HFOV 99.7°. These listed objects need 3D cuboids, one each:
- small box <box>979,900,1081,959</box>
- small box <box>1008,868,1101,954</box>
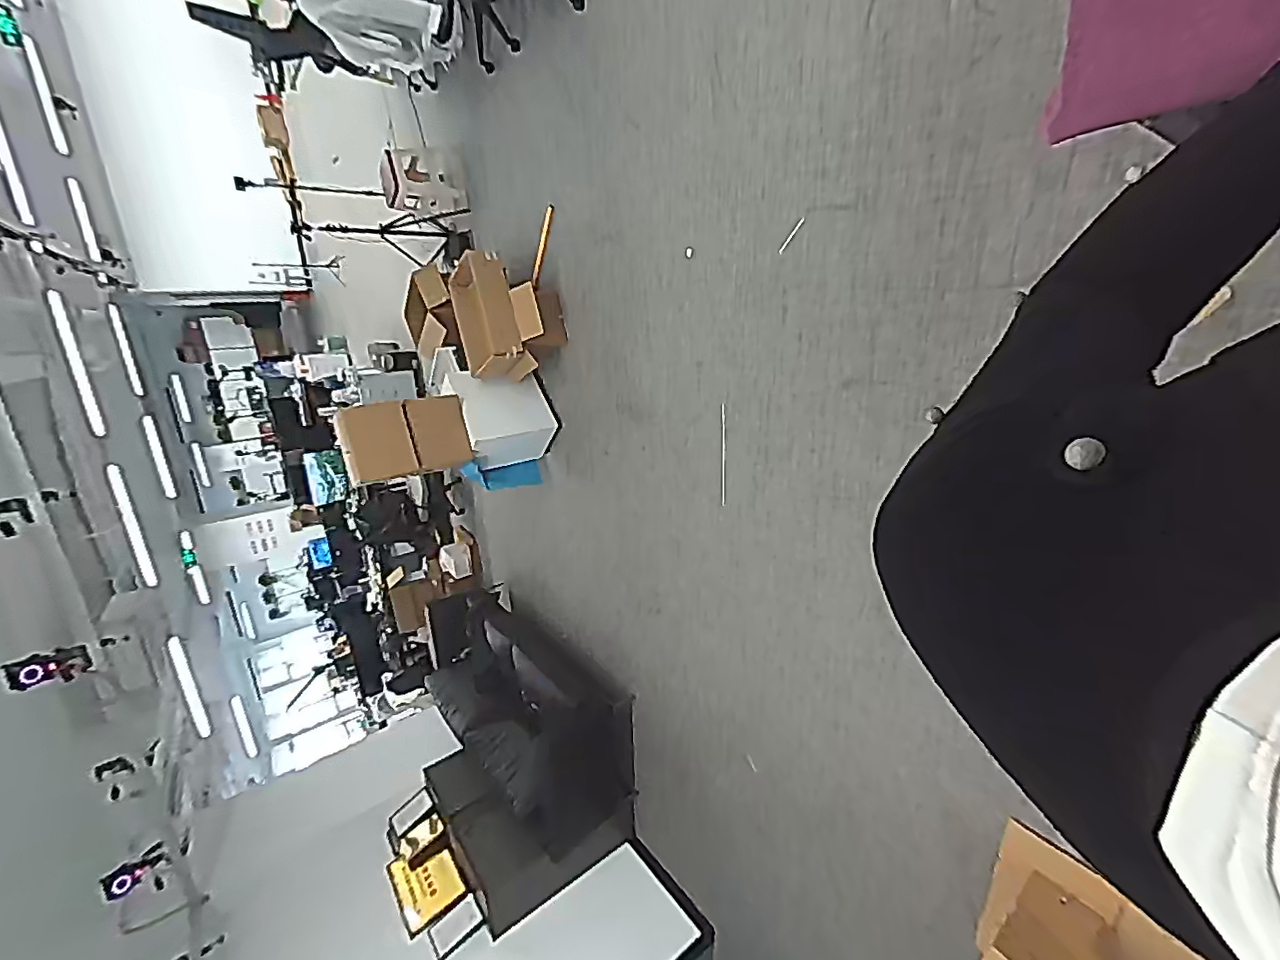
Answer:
[{"bbox_3d":[1.083,1.338,1.505,0.179,0.176,0.168,28,124,46],"label":"small box"},{"bbox_3d":[1.212,1.299,1.599,0.179,0.176,0.168,26,123,47],"label":"small box"}]
